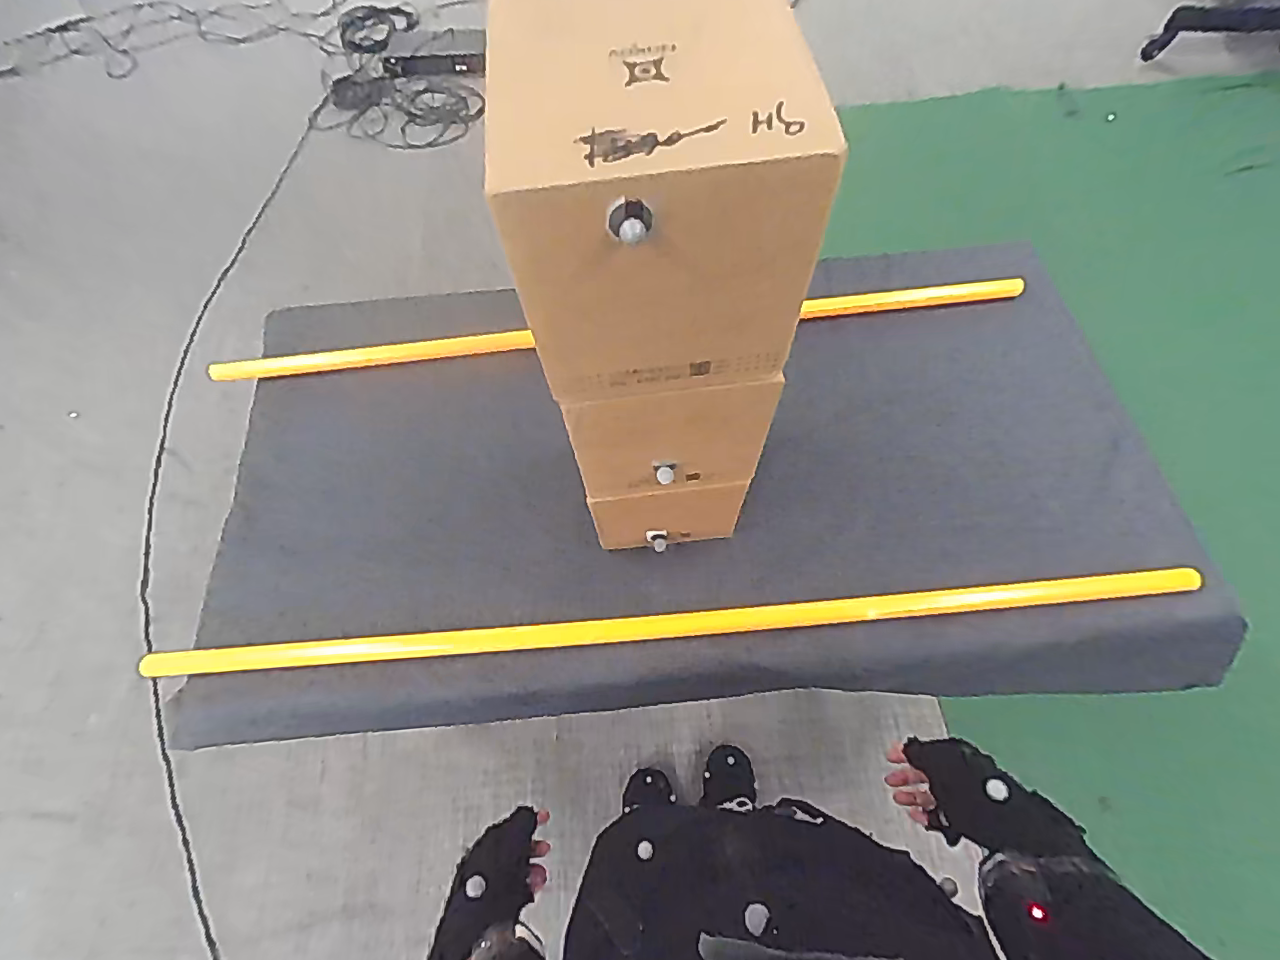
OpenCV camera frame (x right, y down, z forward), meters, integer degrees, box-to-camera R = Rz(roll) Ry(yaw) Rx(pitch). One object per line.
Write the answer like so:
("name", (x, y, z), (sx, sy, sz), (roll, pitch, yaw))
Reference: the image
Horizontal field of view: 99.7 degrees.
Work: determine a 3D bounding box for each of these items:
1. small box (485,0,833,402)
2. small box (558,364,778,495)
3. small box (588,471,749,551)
("small box", (0.005, -0.176, 0.359), (0.168, 0.176, 0.179), (-7, 63, 1))
("small box", (0.017, -0.104, 0.505), (0.168, 0.176, 0.179), (-7, 65, 0))
("small box", (0.024, -0.030, 0.652), (0.168, 0.176, 0.179), (-8, 65, 0))
